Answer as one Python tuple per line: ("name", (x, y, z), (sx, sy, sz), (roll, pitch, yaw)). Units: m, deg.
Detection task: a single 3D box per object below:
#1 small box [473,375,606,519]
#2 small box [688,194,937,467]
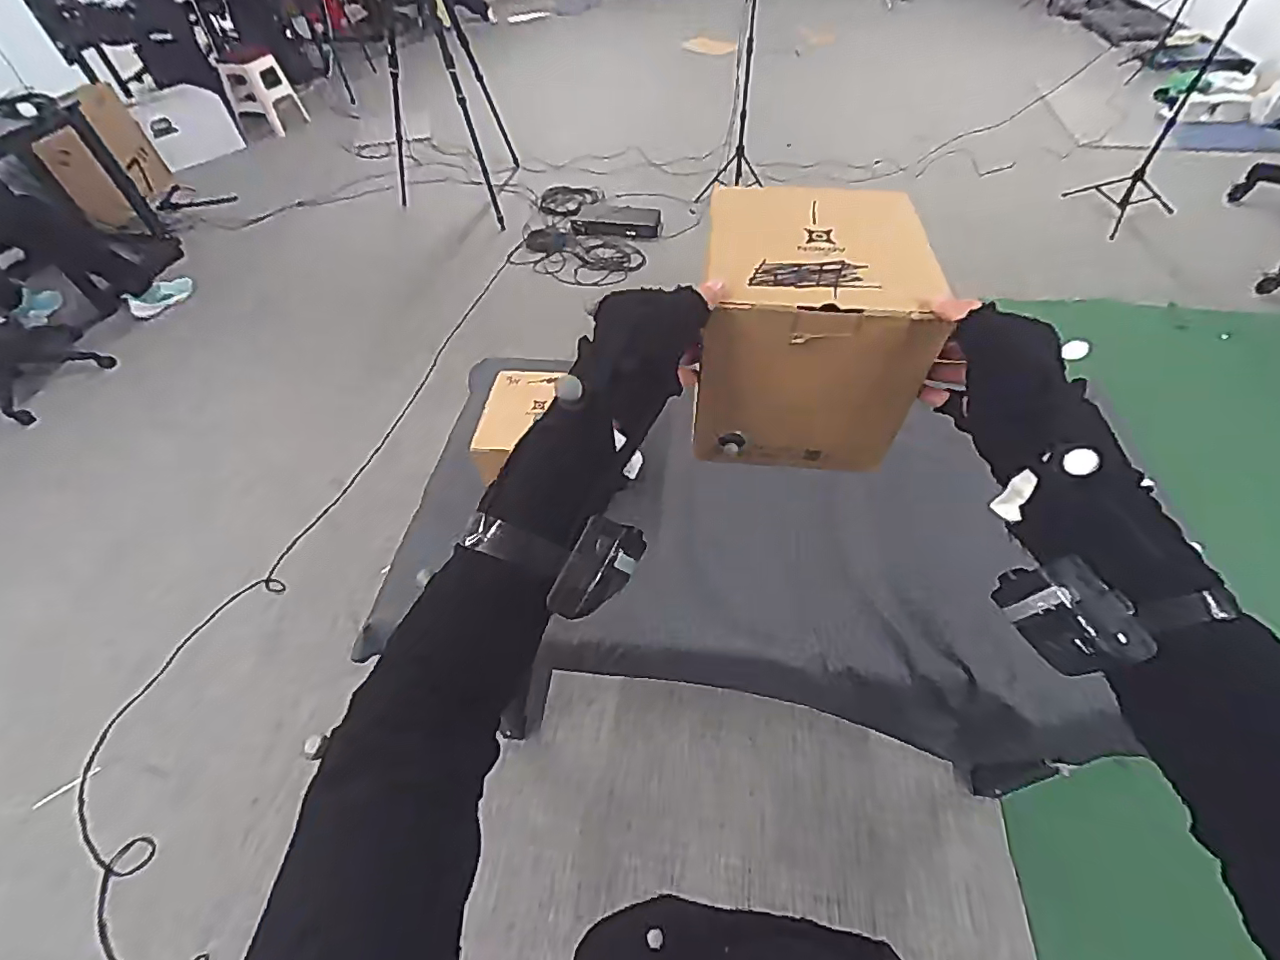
("small box", (-0.152, -0.051, 0.892), (0.168, 0.176, 0.179), (3, 52, 6))
("small box", (0.131, -0.129, 0.480), (0.168, 0.176, 0.179), (4, 51, 5))
